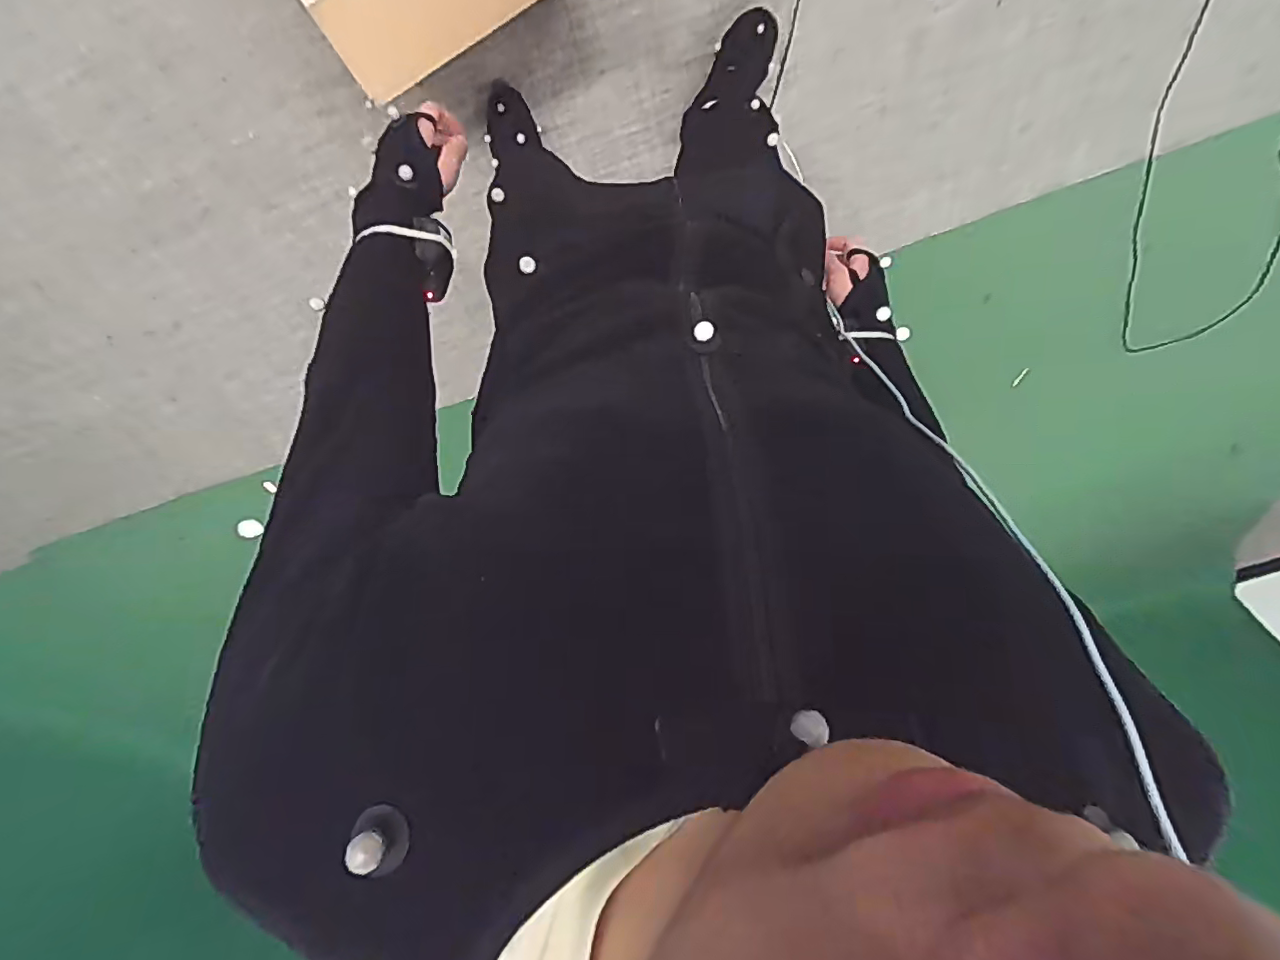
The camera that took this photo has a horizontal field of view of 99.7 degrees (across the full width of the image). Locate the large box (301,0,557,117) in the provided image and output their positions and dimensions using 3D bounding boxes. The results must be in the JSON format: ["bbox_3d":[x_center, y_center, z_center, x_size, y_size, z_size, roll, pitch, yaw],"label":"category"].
[{"bbox_3d":[-0.353,-0.904,0.902,0.408,0.320,0.320,-23,132,13],"label":"large box"}]
